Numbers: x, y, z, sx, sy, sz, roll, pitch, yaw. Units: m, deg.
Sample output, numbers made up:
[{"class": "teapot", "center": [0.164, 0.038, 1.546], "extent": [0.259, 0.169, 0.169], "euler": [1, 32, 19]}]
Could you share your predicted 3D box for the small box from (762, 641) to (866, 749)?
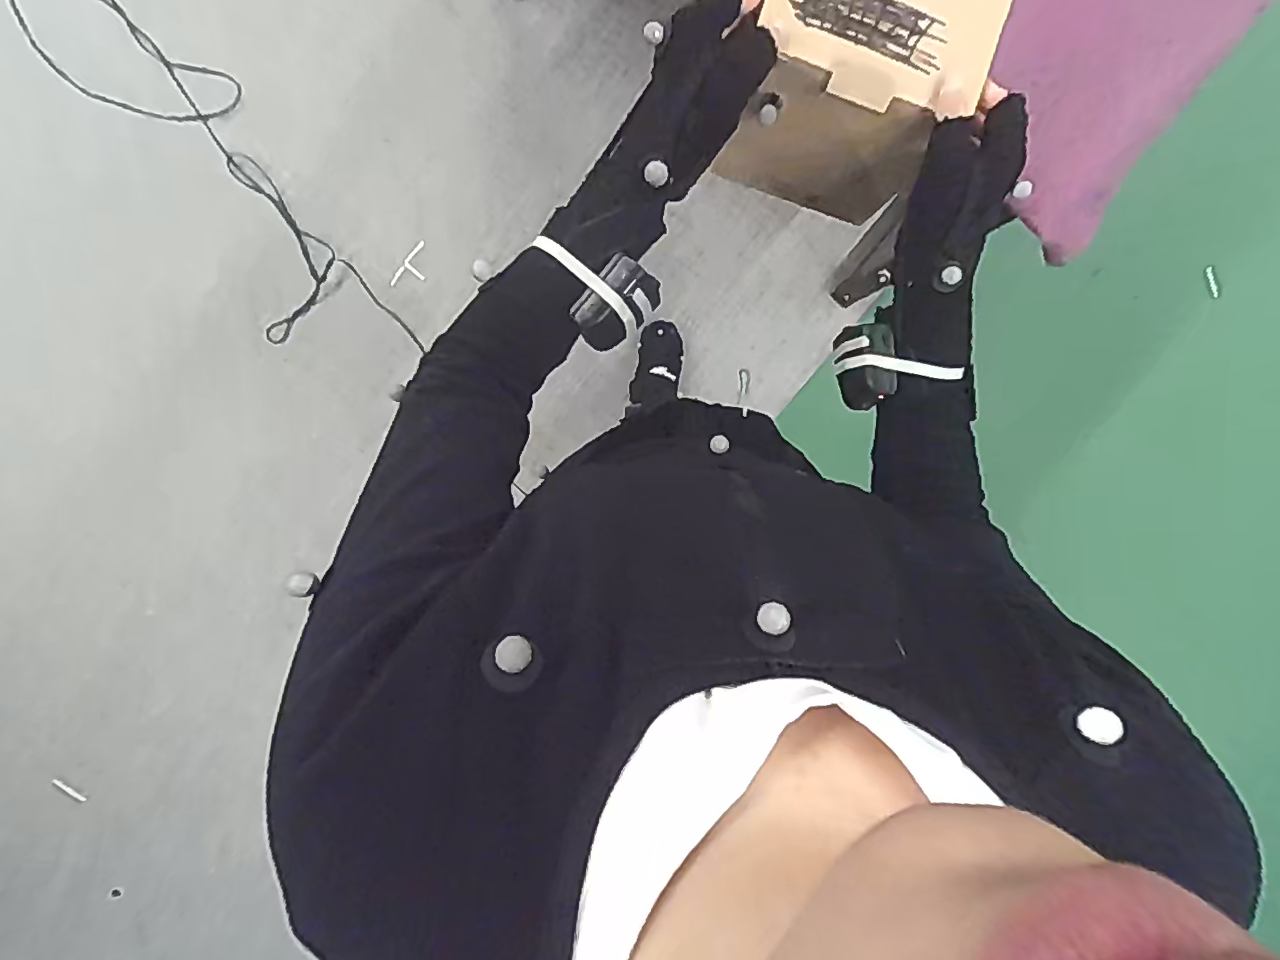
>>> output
[{"class": "small box", "center": [0.458, 0.566, 1.450], "extent": [0.179, 0.176, 0.168], "euler": [40, 94, -5]}]
